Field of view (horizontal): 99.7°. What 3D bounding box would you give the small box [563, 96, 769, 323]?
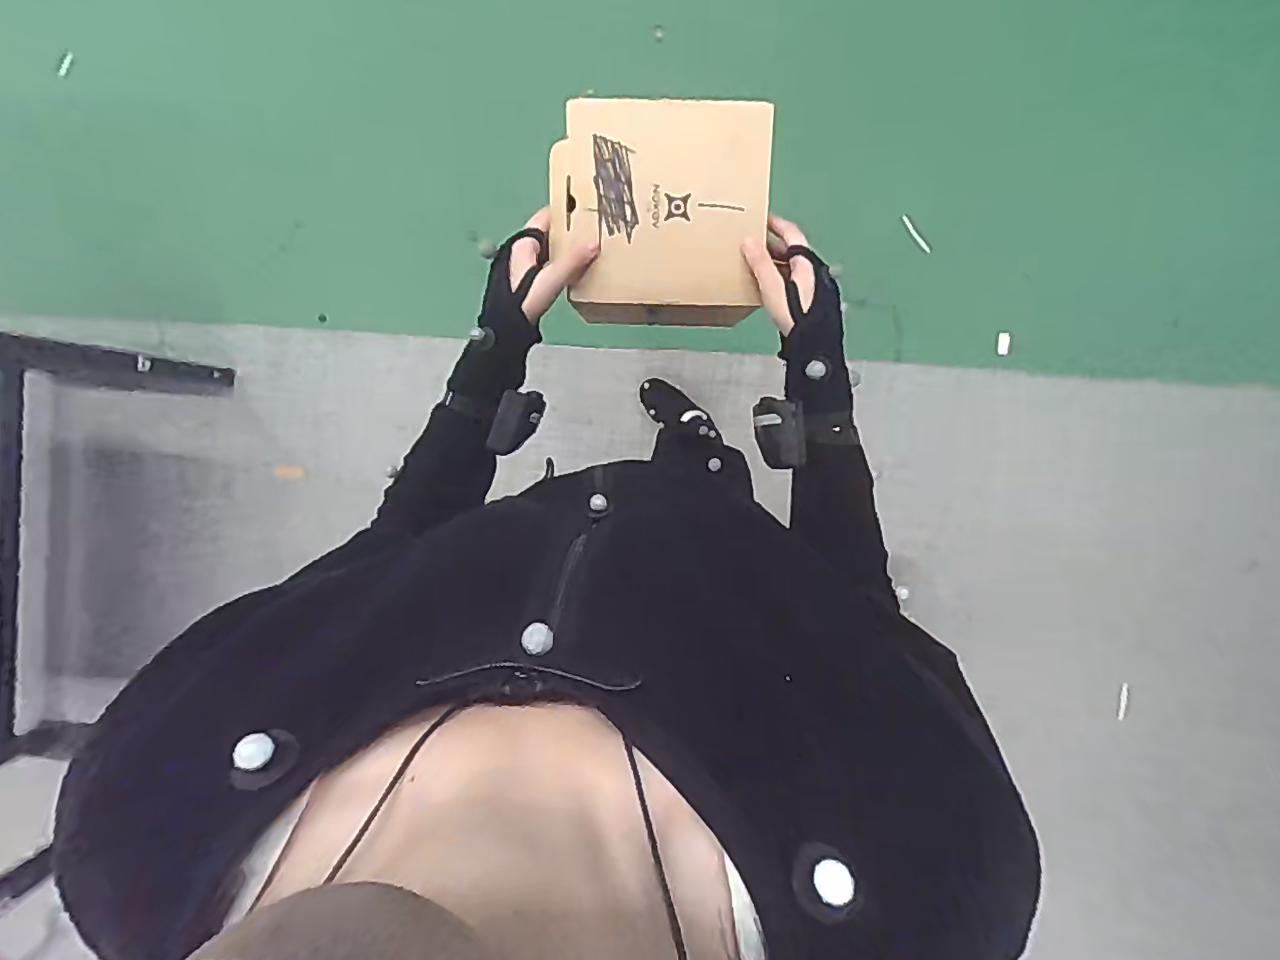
[{"bbox_3d":[0.022,-0.253,0.546,0.179,0.176,0.168,0,100,0],"label":"small box"}]
